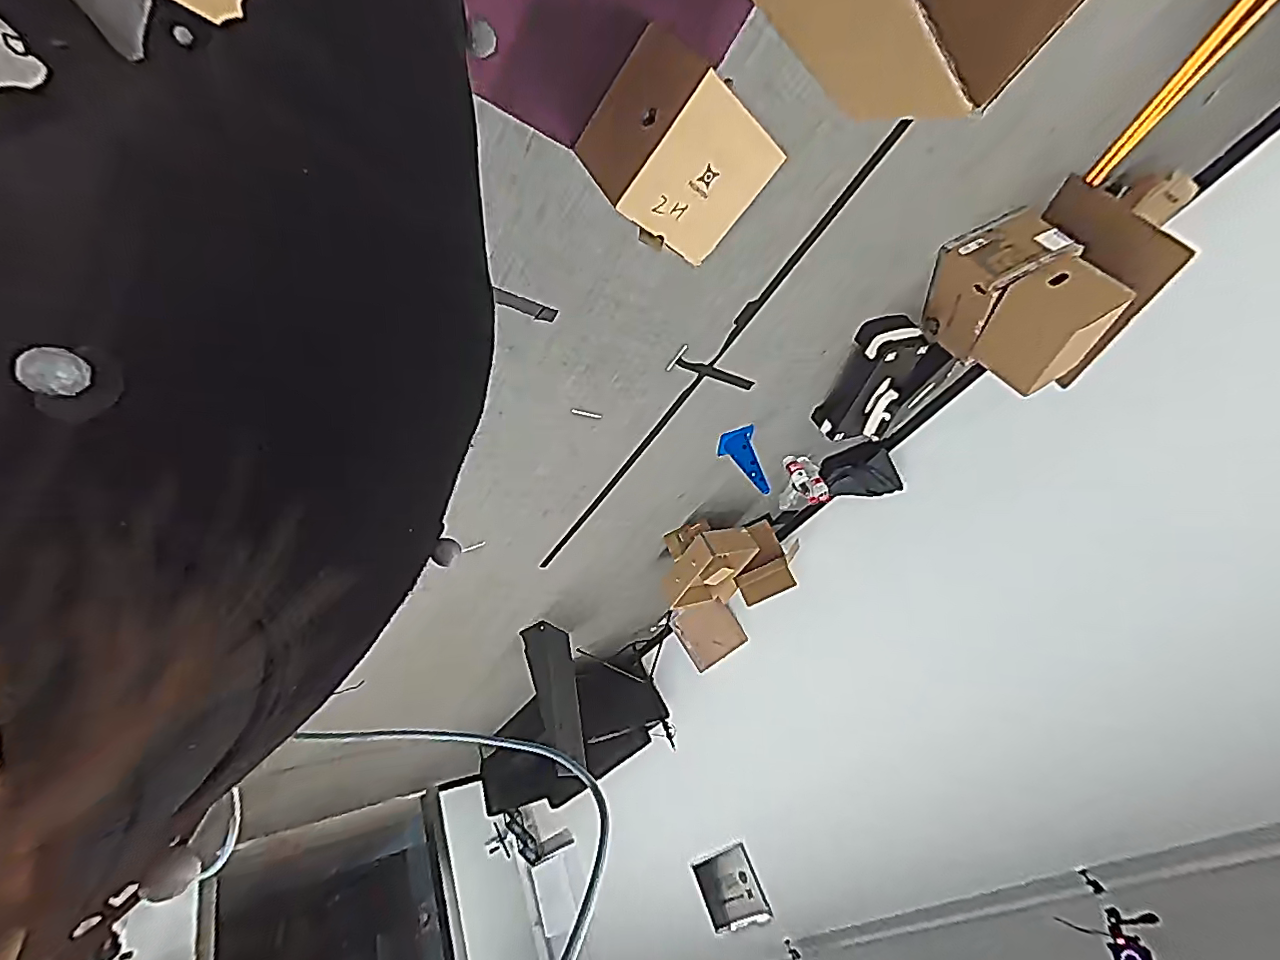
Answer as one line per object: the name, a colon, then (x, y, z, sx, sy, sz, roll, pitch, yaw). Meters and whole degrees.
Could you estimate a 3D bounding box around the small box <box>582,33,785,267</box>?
small box: (0.048, -0.429, 0.712, 0.168, 0.176, 0.179, 14, 131, -45)
